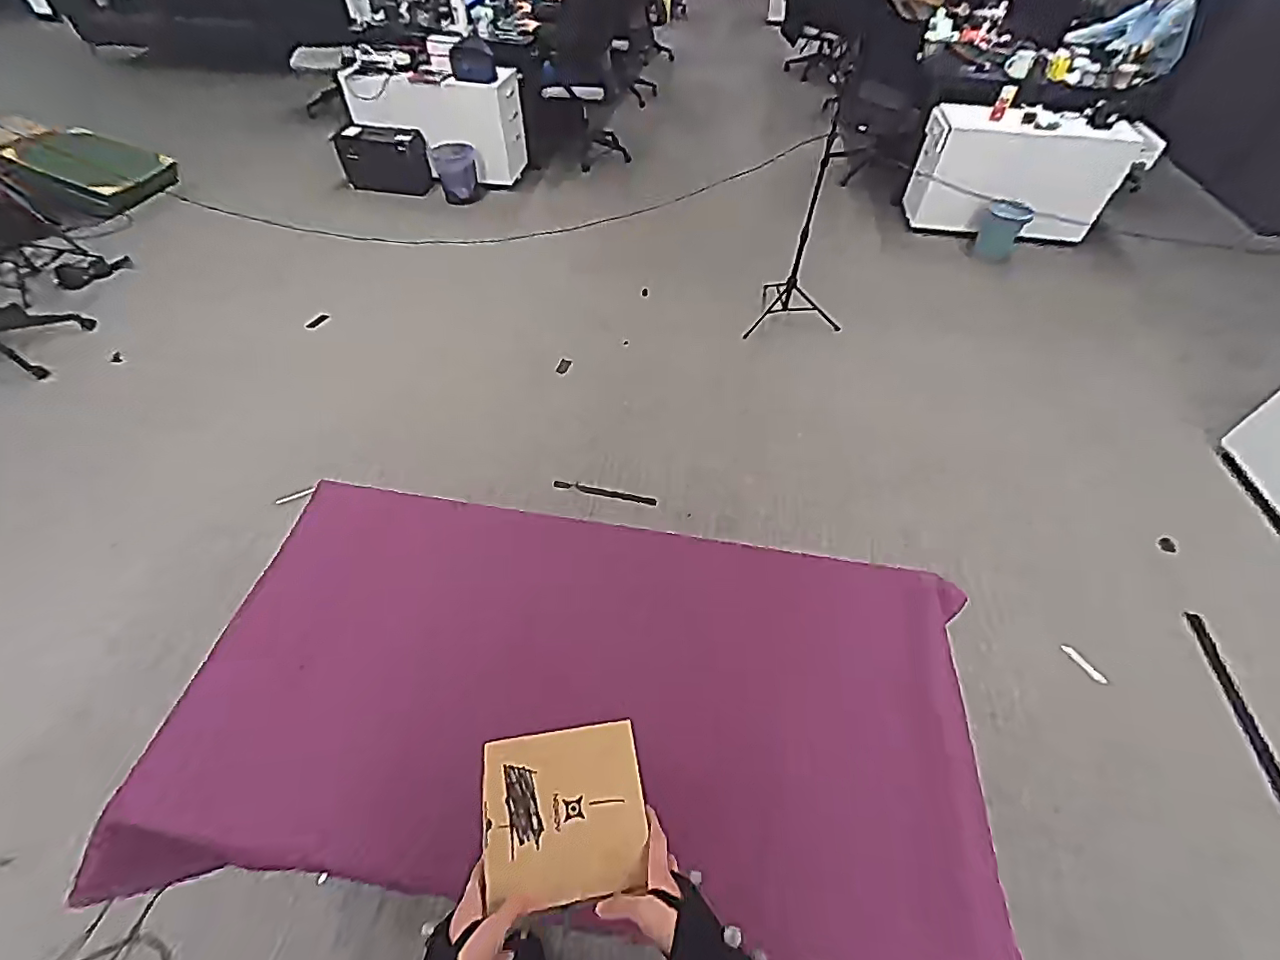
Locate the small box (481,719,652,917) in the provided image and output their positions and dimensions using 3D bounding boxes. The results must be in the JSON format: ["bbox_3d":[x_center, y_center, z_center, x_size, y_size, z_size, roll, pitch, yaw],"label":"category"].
[{"bbox_3d":[-0.087,0.412,0.656,0.179,0.176,0.168,-6,51,-8],"label":"small box"}]
